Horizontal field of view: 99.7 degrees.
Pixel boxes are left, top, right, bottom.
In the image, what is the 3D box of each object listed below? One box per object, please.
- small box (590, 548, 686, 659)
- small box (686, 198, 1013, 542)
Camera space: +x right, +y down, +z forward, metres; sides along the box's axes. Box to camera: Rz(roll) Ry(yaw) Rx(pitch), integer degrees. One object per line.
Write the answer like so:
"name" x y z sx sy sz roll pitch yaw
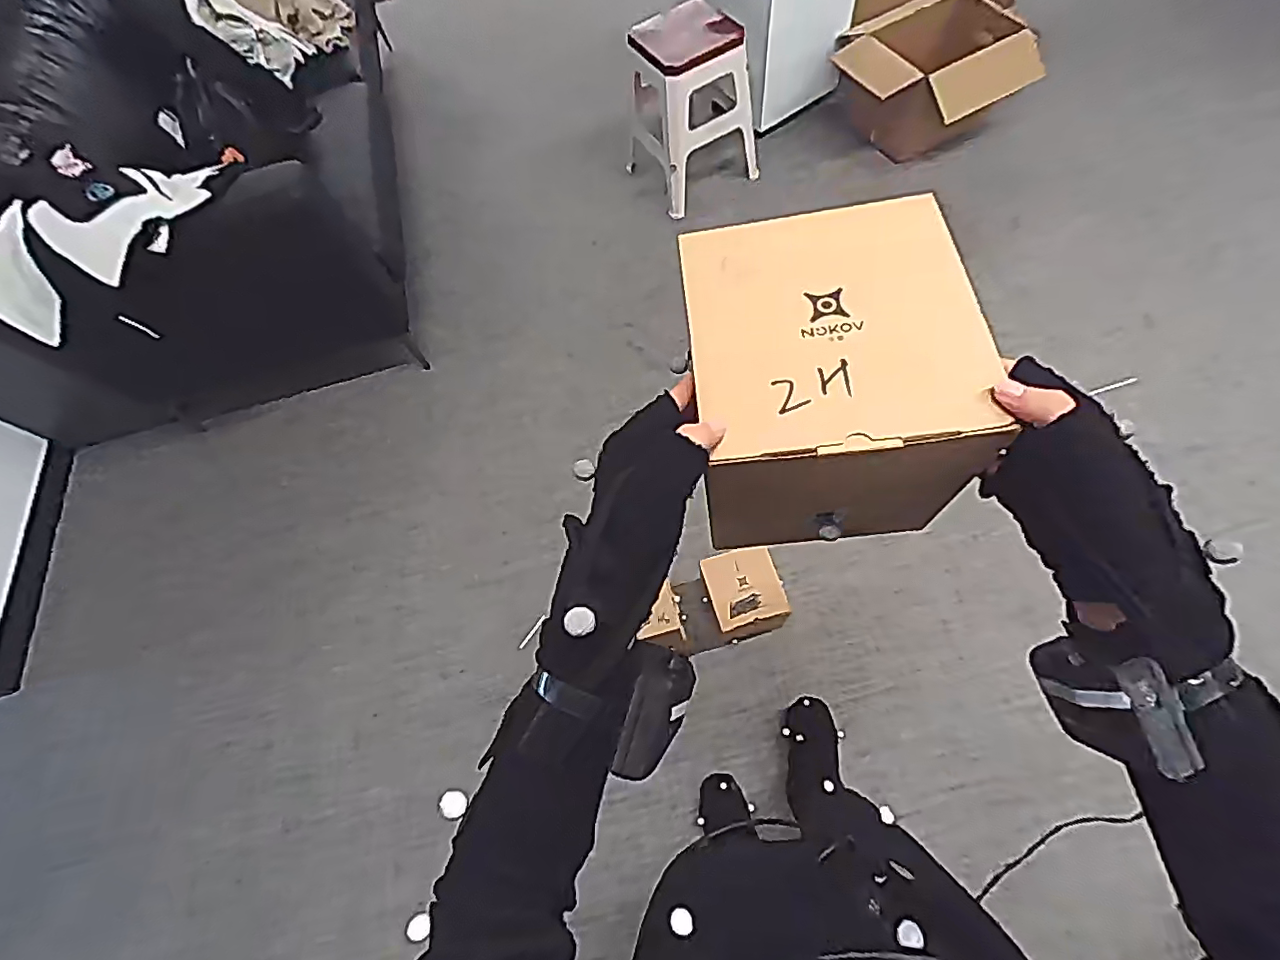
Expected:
"small box" -0.001 0.275 1.180 0.168 0.176 0.179 -16 63 1
"small box" 0.126 -0.067 0.400 0.168 0.176 0.179 -6 65 8
